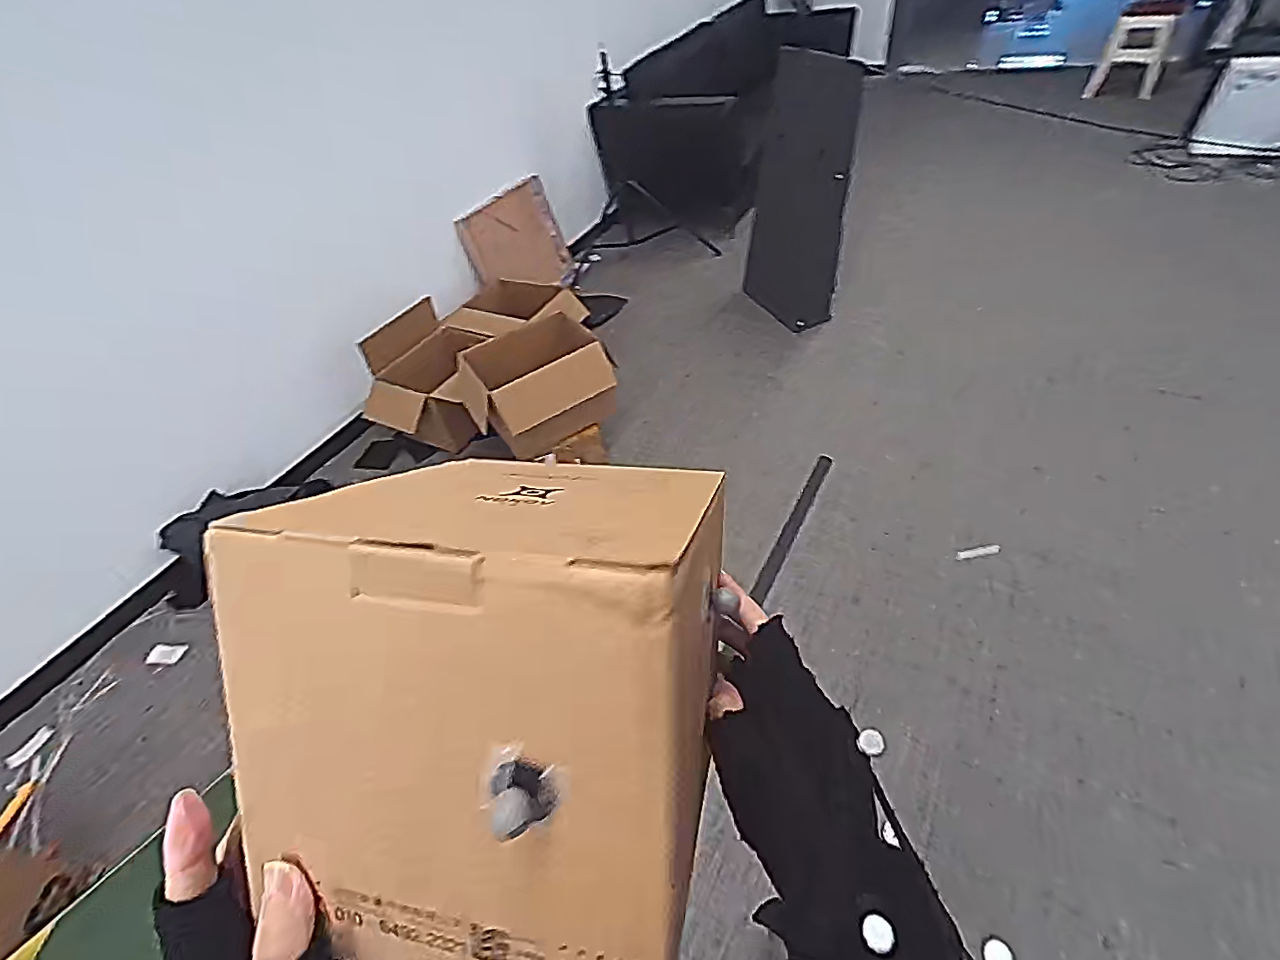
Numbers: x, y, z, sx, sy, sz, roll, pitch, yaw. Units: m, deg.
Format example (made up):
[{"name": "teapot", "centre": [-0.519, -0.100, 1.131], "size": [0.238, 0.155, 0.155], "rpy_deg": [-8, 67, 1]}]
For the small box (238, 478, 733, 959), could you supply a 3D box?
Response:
[{"name": "small box", "centre": [-0.045, 0.096, 0.264], "size": [0.168, 0.176, 0.179], "rpy_deg": [3, 8, 13]}]
